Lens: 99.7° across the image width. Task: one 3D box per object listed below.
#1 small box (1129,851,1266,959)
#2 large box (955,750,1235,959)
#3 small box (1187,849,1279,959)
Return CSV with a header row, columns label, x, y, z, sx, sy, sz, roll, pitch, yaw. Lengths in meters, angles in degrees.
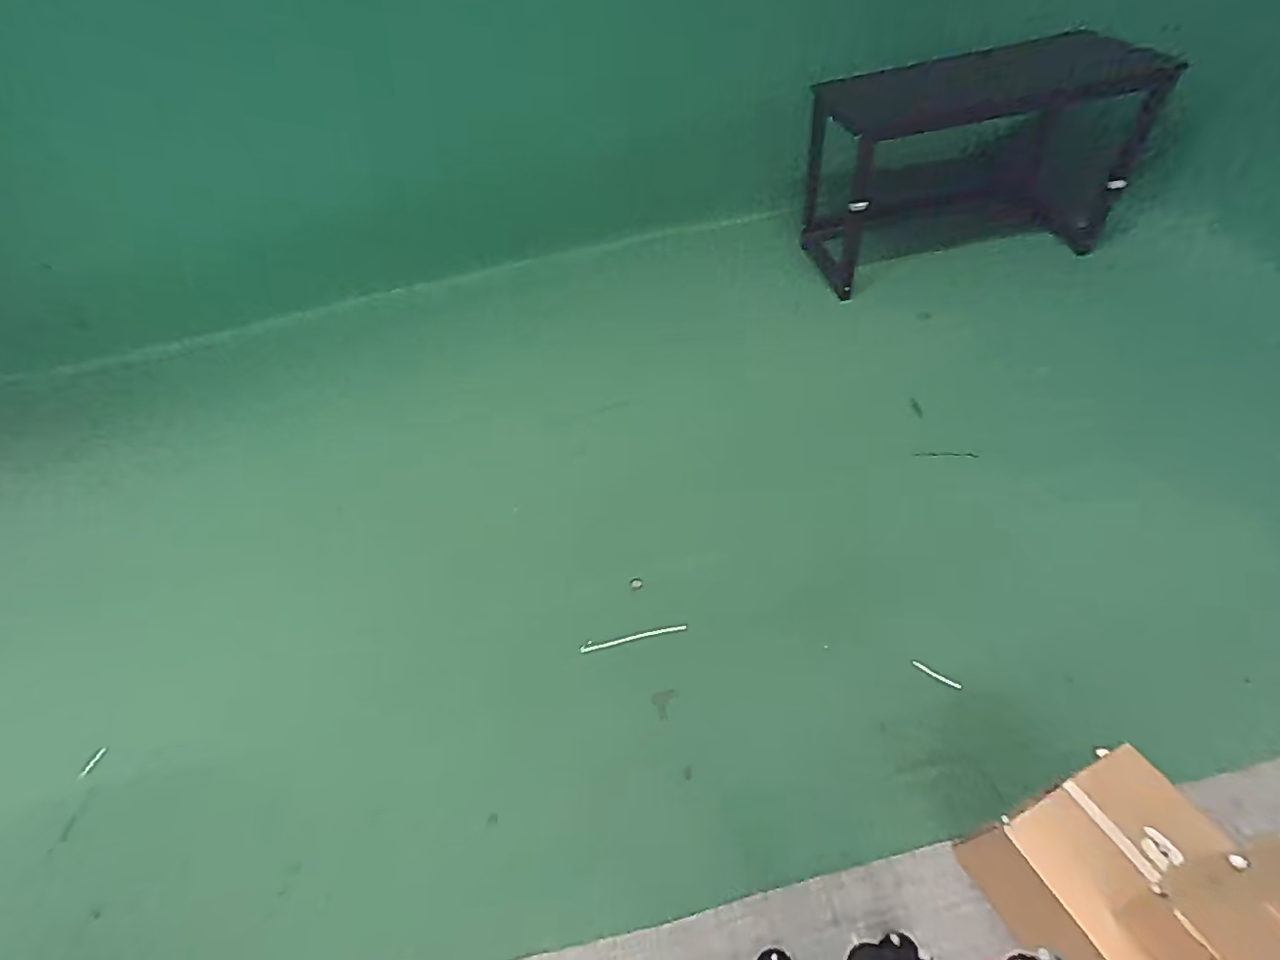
label,x,y,z,sx,sy,sz,roll,pitch,yaw
small box,0.850,0.663,0.758,0.179,0.176,0.168,-24,50,-10
large box,0.877,0.789,0.969,0.320,0.320,0.408,-23,48,-12
small box,0.831,0.557,0.634,0.168,0.176,0.179,-25,49,-11
